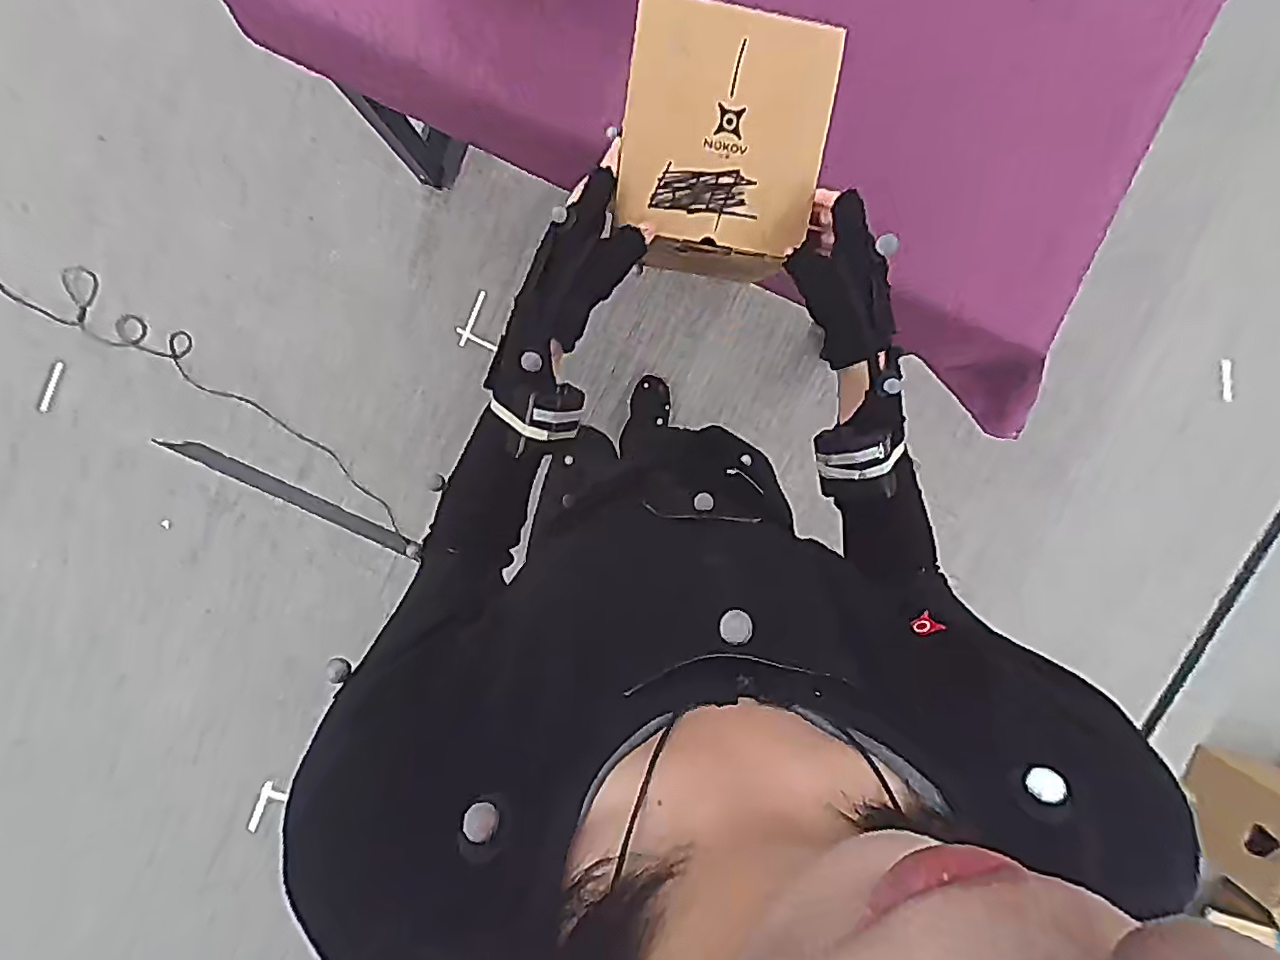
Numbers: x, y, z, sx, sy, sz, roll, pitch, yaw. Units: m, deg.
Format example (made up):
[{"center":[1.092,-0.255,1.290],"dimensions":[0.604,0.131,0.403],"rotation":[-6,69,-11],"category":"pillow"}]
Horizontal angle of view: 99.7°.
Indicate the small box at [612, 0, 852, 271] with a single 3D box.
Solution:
[{"center":[0.067,-0.306,0.508],"dimensions":[0.168,0.176,0.179],"rotation":[8,102,-6],"category":"small box"}]
